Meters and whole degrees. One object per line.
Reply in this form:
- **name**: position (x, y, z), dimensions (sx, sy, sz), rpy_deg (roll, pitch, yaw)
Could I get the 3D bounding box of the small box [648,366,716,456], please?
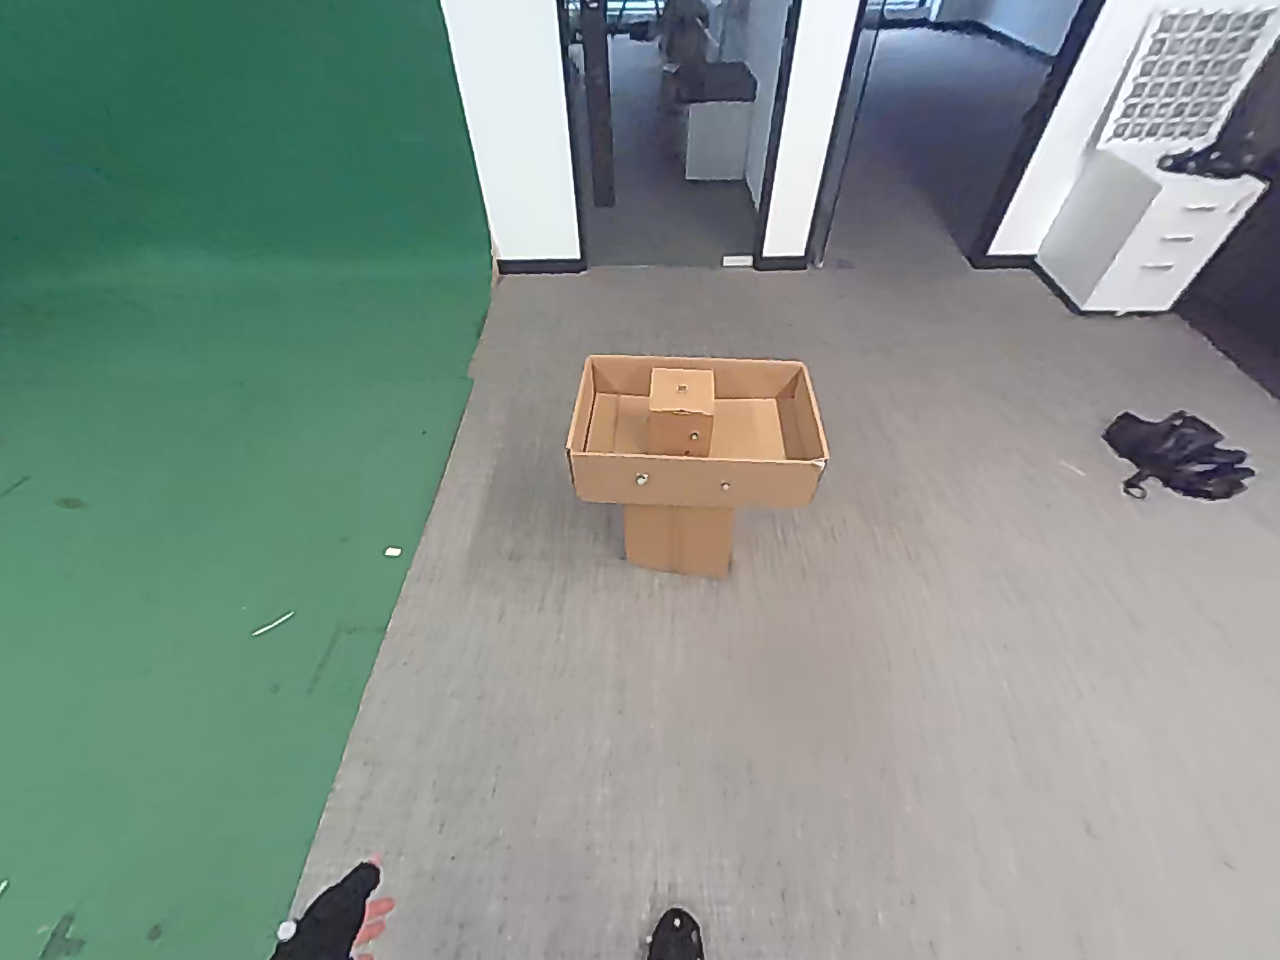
- **small box**: position (0.110, -0.180, 1.440), dimensions (0.168, 0.176, 0.179), rpy_deg (4, 46, 1)
